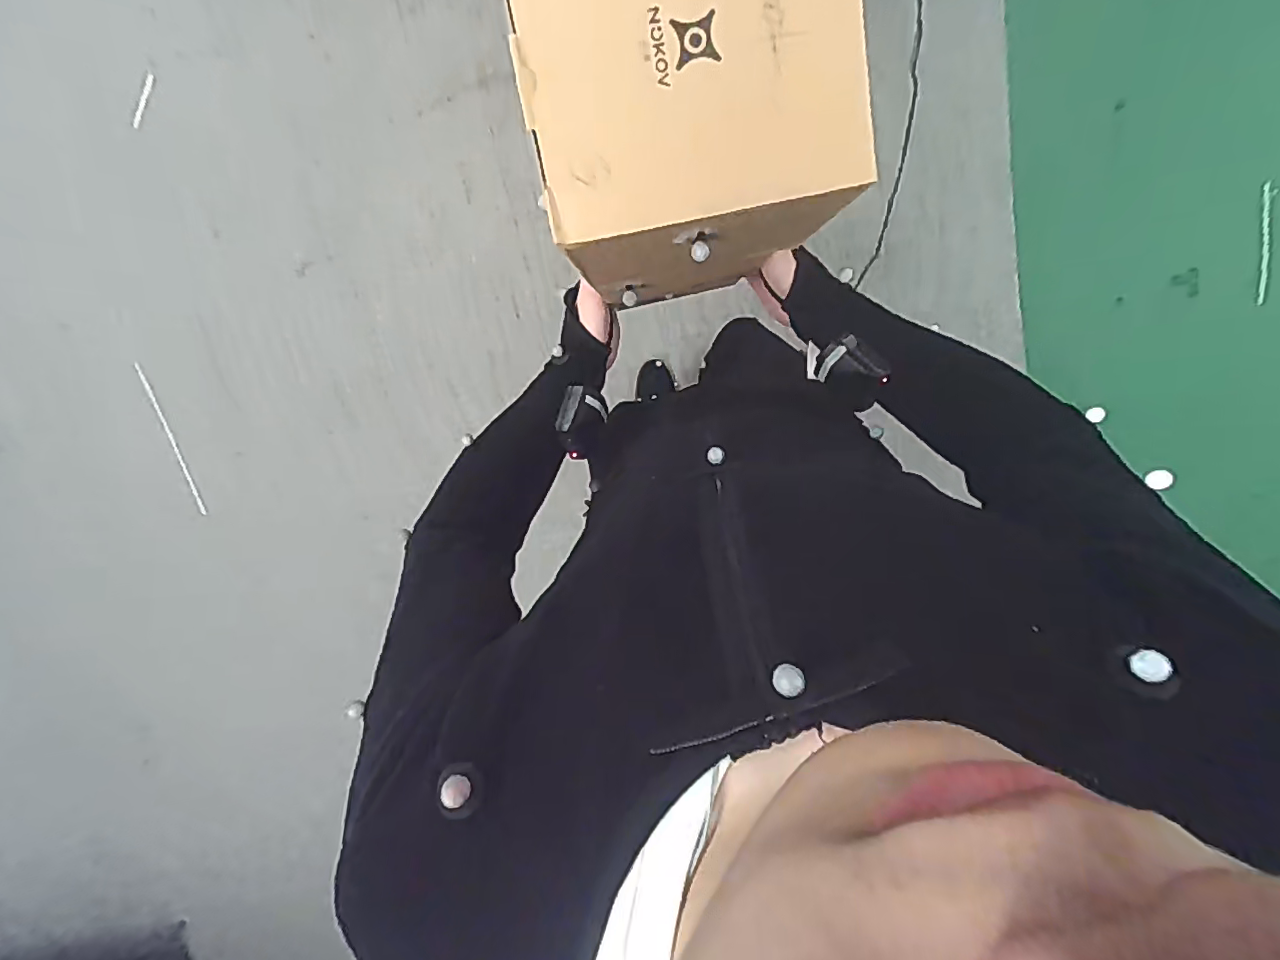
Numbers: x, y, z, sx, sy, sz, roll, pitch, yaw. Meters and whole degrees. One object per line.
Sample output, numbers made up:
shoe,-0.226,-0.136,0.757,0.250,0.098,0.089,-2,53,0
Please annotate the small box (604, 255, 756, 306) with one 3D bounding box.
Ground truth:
small box,0.036,-0.324,0.674,0.179,0.176,0.168,-11,101,5

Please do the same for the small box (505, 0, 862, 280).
small box,0.026,-0.240,0.357,0.179,0.176,0.168,-9,102,5
